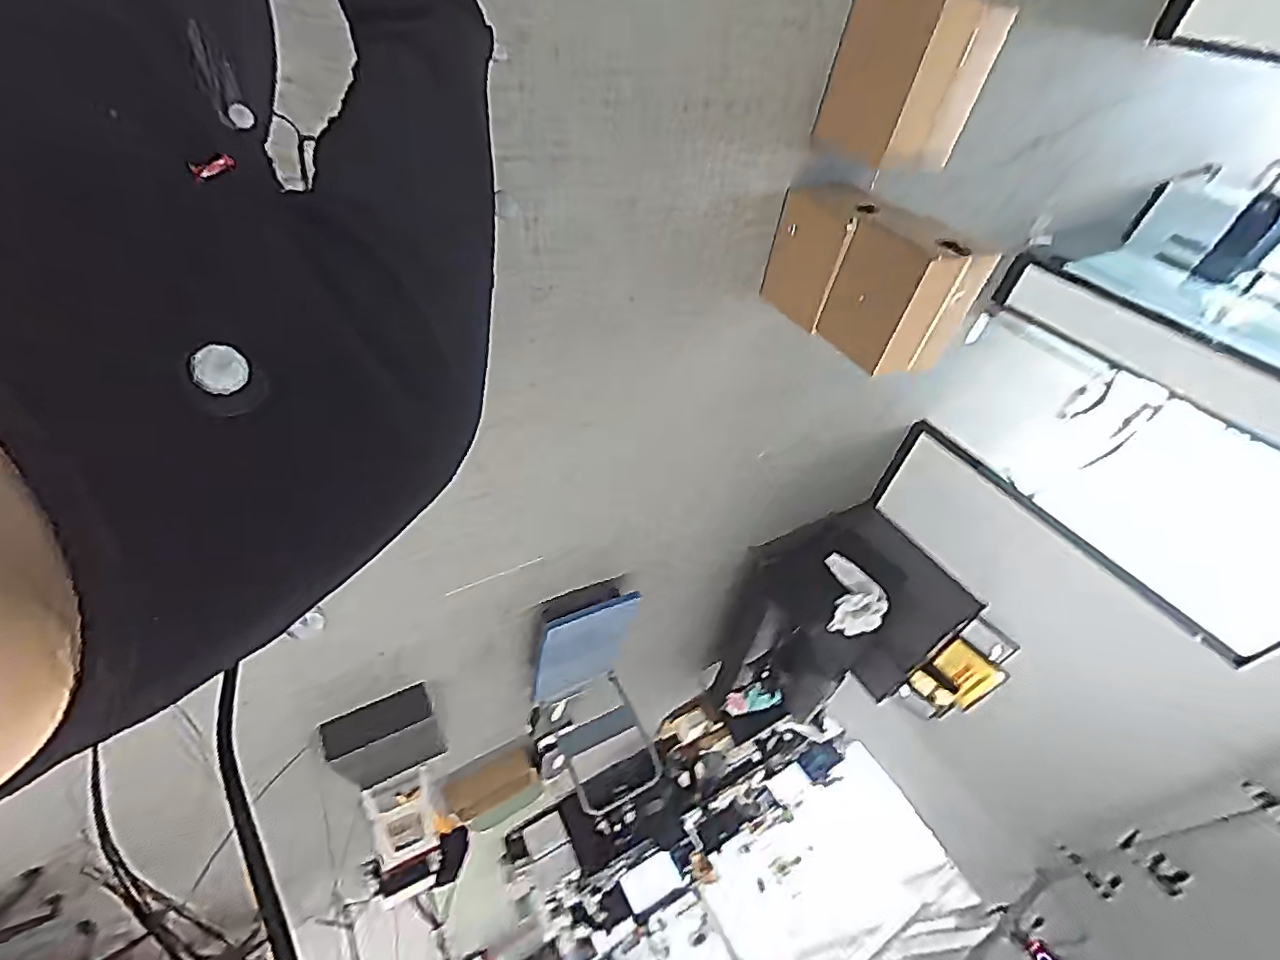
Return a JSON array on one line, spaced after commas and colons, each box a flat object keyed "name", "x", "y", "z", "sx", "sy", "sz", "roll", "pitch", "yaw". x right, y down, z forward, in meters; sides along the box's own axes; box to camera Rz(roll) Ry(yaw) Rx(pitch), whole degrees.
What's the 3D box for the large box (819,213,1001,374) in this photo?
[{"name": "large box", "x": 0.860, "y": -0.617, "z": 1.785, "sx": 0.320, "sy": 0.320, "sz": 0.408, "roll": -14, "pitch": 138, "yaw": -23}]
